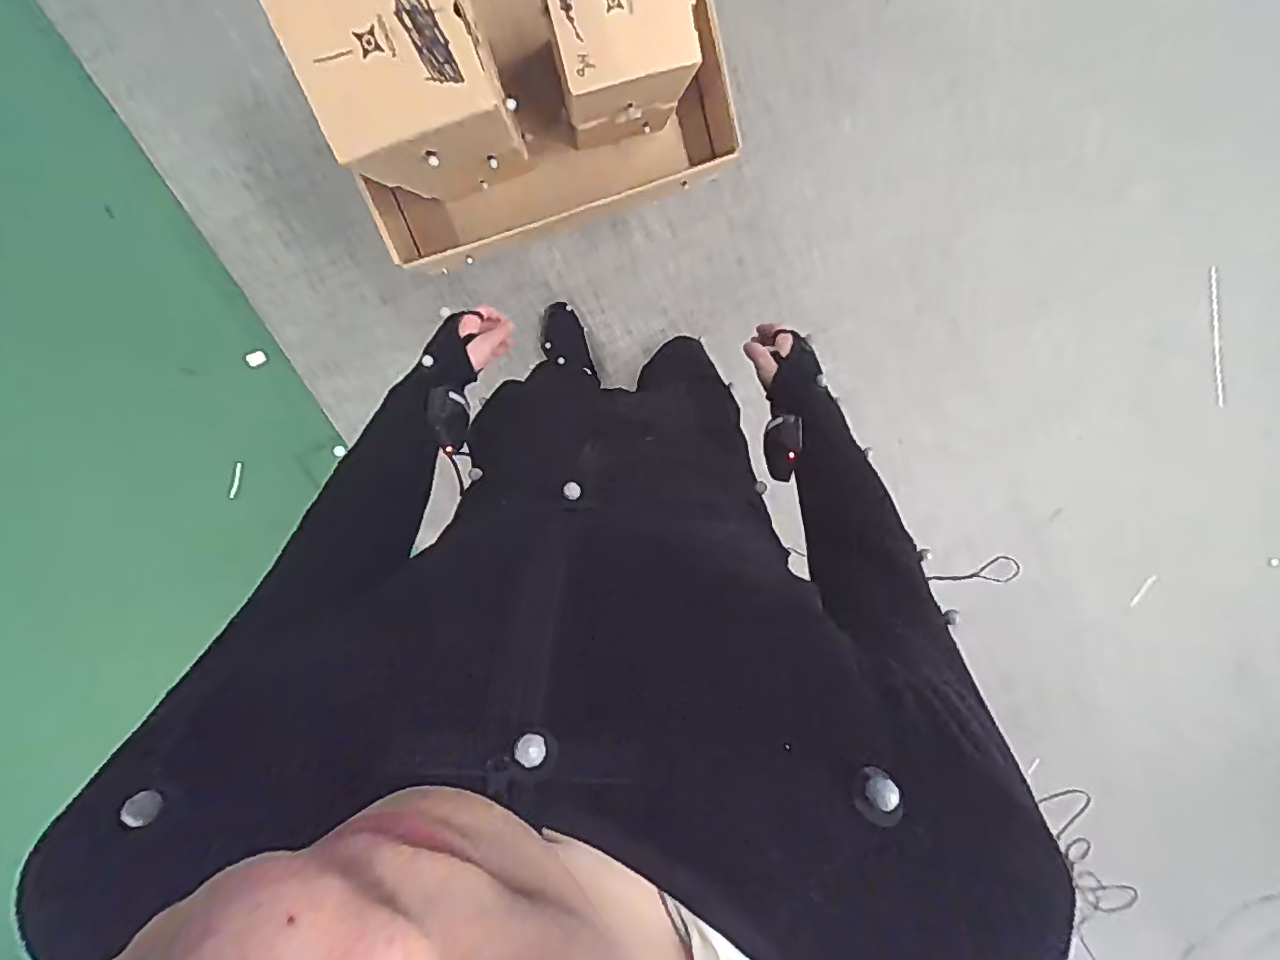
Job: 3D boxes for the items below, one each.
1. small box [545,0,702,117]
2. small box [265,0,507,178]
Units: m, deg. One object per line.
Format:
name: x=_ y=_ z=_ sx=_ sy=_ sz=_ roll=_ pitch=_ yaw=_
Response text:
small box: x=-0.030 y=-0.620 z=0.729 sx=0.179 sy=0.176 sz=0.168 roll=-15 pitch=113 yaw=1
small box: x=-0.260 y=-0.459 z=0.601 sx=0.179 sy=0.176 sz=0.168 roll=-19 pitch=112 yaw=4
